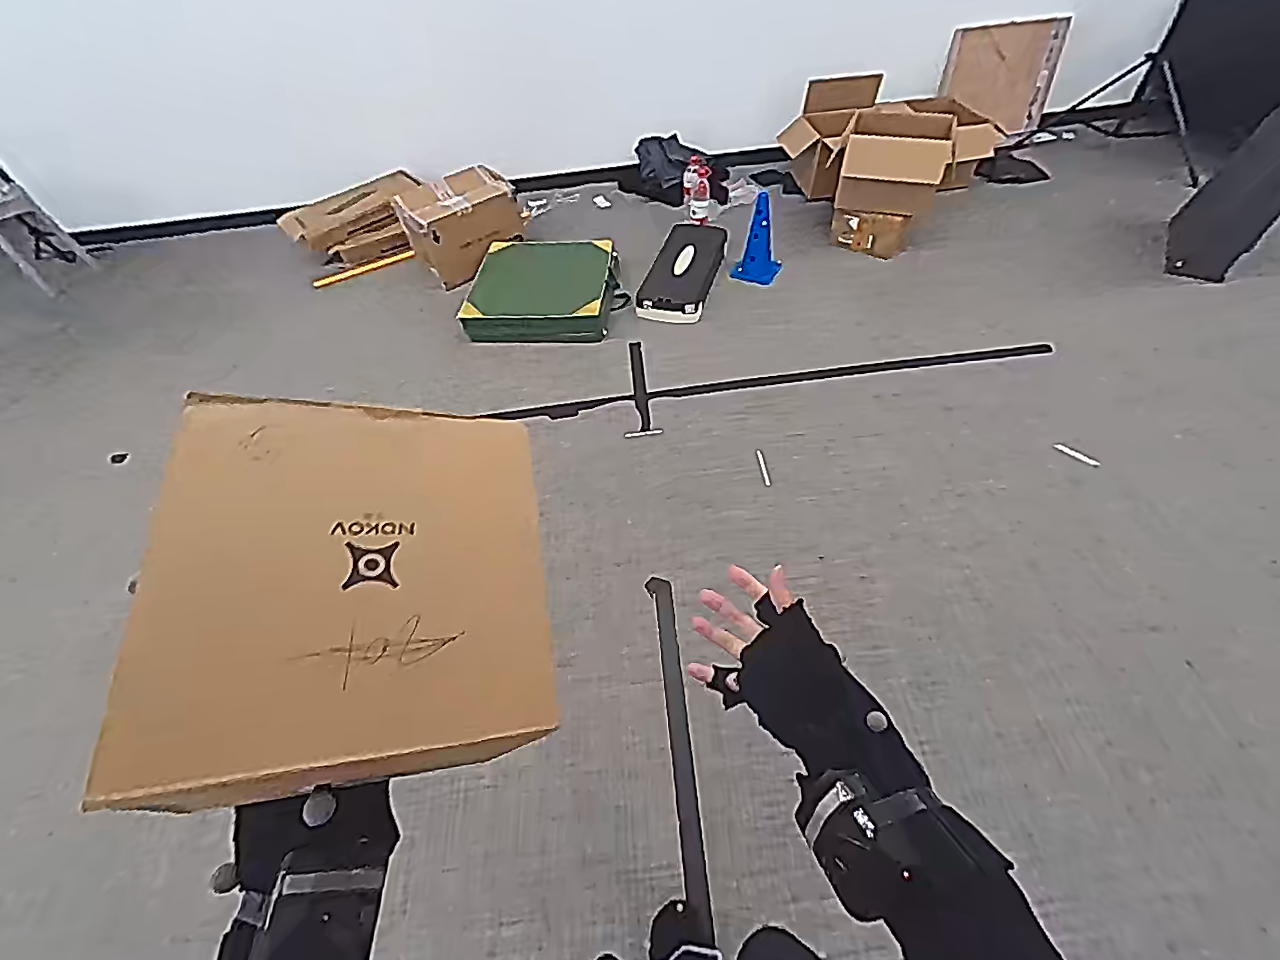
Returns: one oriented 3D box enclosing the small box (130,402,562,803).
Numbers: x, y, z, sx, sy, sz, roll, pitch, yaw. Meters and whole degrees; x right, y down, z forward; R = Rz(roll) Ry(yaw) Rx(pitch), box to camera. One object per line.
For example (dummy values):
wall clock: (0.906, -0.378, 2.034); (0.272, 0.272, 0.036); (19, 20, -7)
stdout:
small box: (-0.157, 0.080, 0.328); (0.168, 0.176, 0.179); (4, 59, -26)
